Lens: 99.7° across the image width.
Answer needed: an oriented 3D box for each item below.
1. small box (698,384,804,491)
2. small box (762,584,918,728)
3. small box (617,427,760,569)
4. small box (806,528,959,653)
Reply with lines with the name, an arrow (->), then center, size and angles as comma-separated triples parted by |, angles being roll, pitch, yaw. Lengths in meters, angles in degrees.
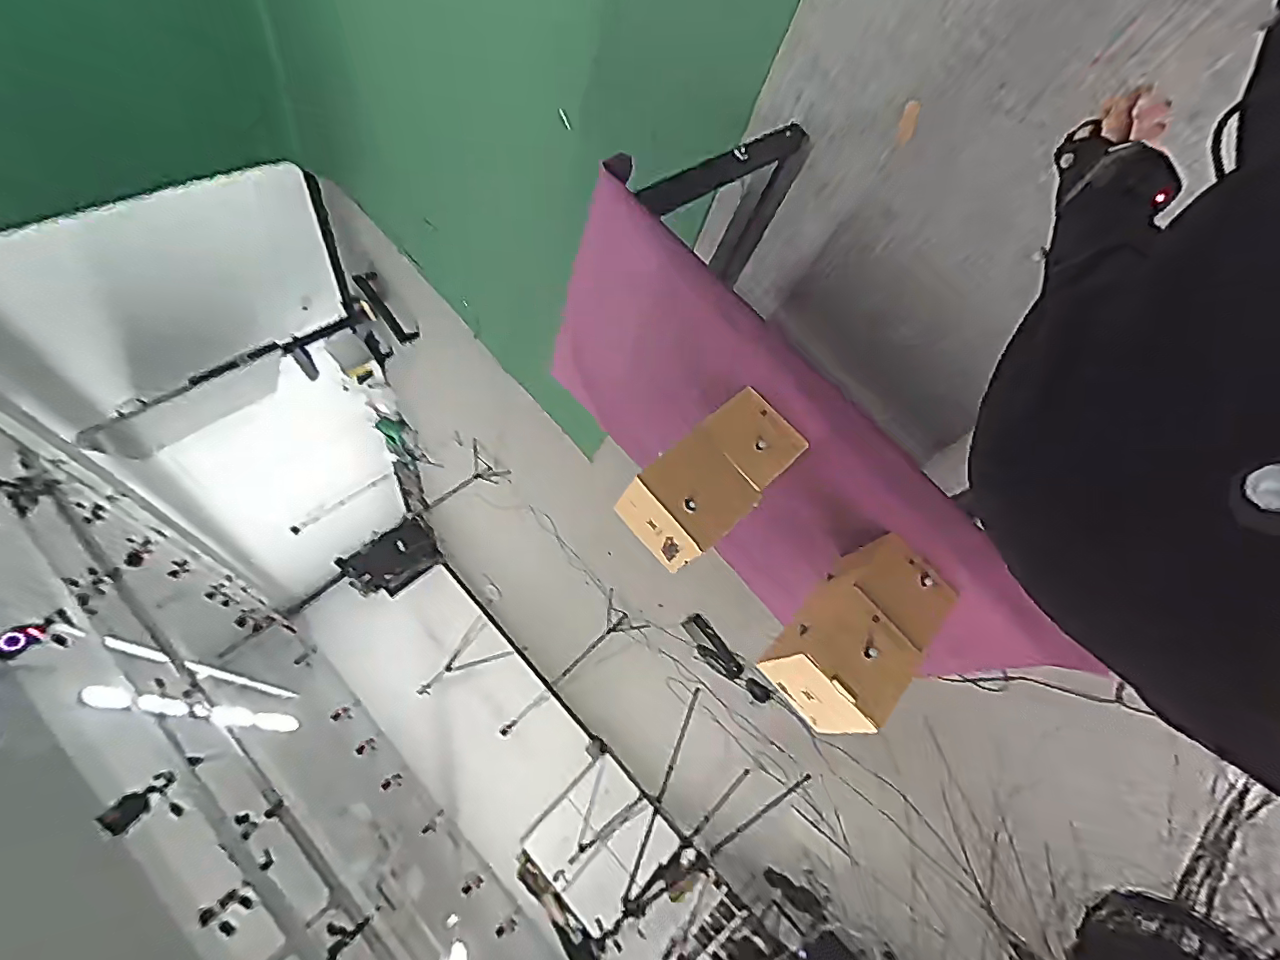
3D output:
small box -> 0.201, -0.060, 1.089 | 0.168, 0.176, 0.179 | 45, 153, 9
small box -> 0.355, 0.308, 0.952 | 0.168, 0.176, 0.179 | 47, 151, 7
small box -> 0.090, 0.033, 1.011 | 0.179, 0.176, 0.168 | 48, 153, 6
small box -> 0.465, 0.222, 1.039 | 0.168, 0.176, 0.179 | 46, 151, 9
